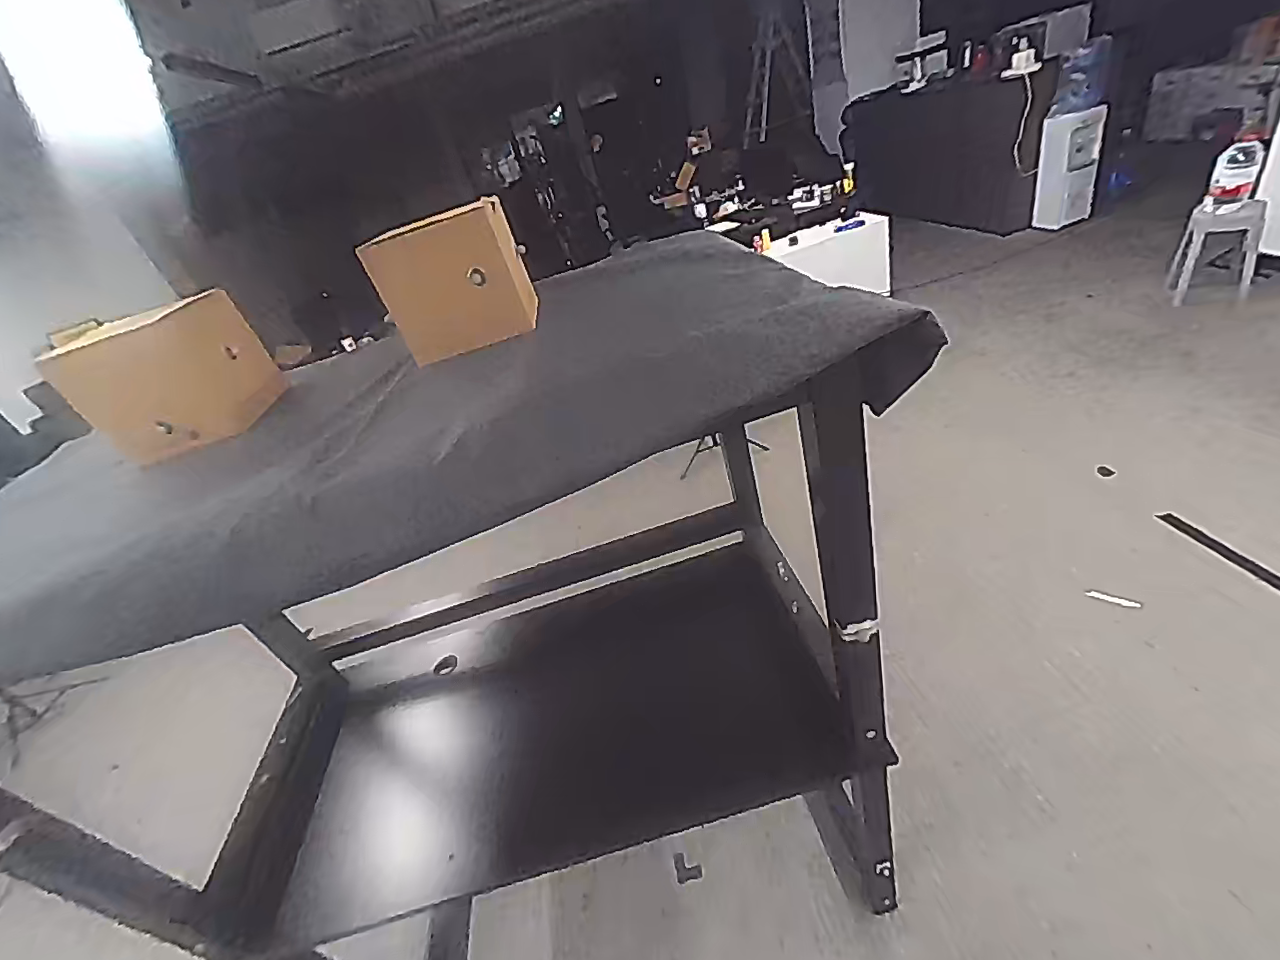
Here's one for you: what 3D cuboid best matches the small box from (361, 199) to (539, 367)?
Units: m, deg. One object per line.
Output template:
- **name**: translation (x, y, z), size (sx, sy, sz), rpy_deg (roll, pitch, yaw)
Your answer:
- **small box**: translation (-0.257, -0.286, 0.784), size (0.179, 0.176, 0.168), rpy_deg (-17, 32, 2)
